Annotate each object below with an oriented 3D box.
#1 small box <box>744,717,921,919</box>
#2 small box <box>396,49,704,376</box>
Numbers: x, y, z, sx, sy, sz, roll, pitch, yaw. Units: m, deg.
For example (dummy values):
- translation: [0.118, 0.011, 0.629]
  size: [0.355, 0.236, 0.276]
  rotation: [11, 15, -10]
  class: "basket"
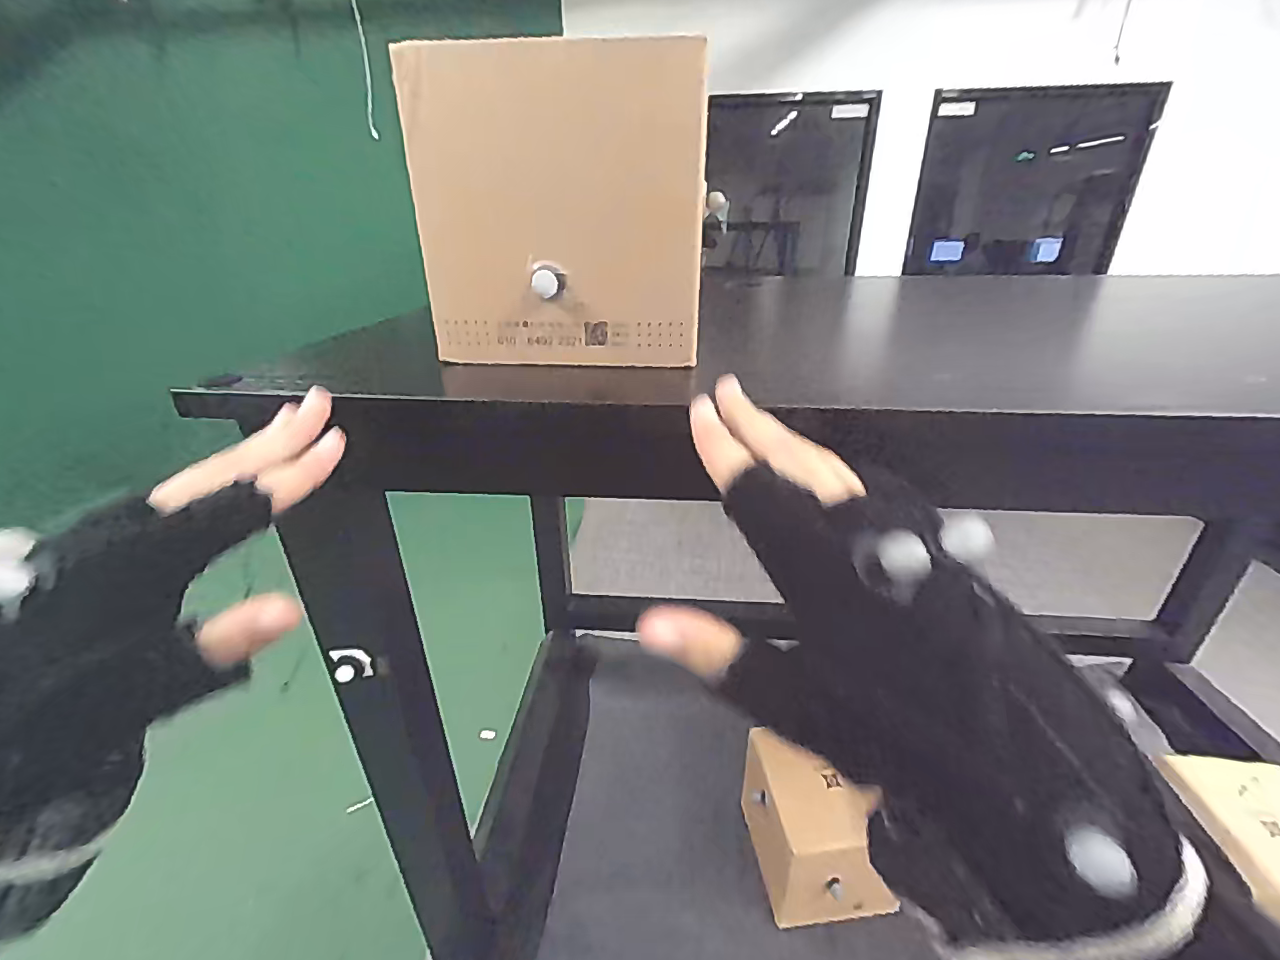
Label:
- translation: [0.246, 0.459, 0.737]
  size: [0.168, 0.176, 0.179]
  rotation: [-3, 26, -5]
  class: "small box"
- translation: [-0.042, -0.180, 0.386]
  size: [0.168, 0.176, 0.179]
  rotation: [2, 27, 5]
  class: "small box"
